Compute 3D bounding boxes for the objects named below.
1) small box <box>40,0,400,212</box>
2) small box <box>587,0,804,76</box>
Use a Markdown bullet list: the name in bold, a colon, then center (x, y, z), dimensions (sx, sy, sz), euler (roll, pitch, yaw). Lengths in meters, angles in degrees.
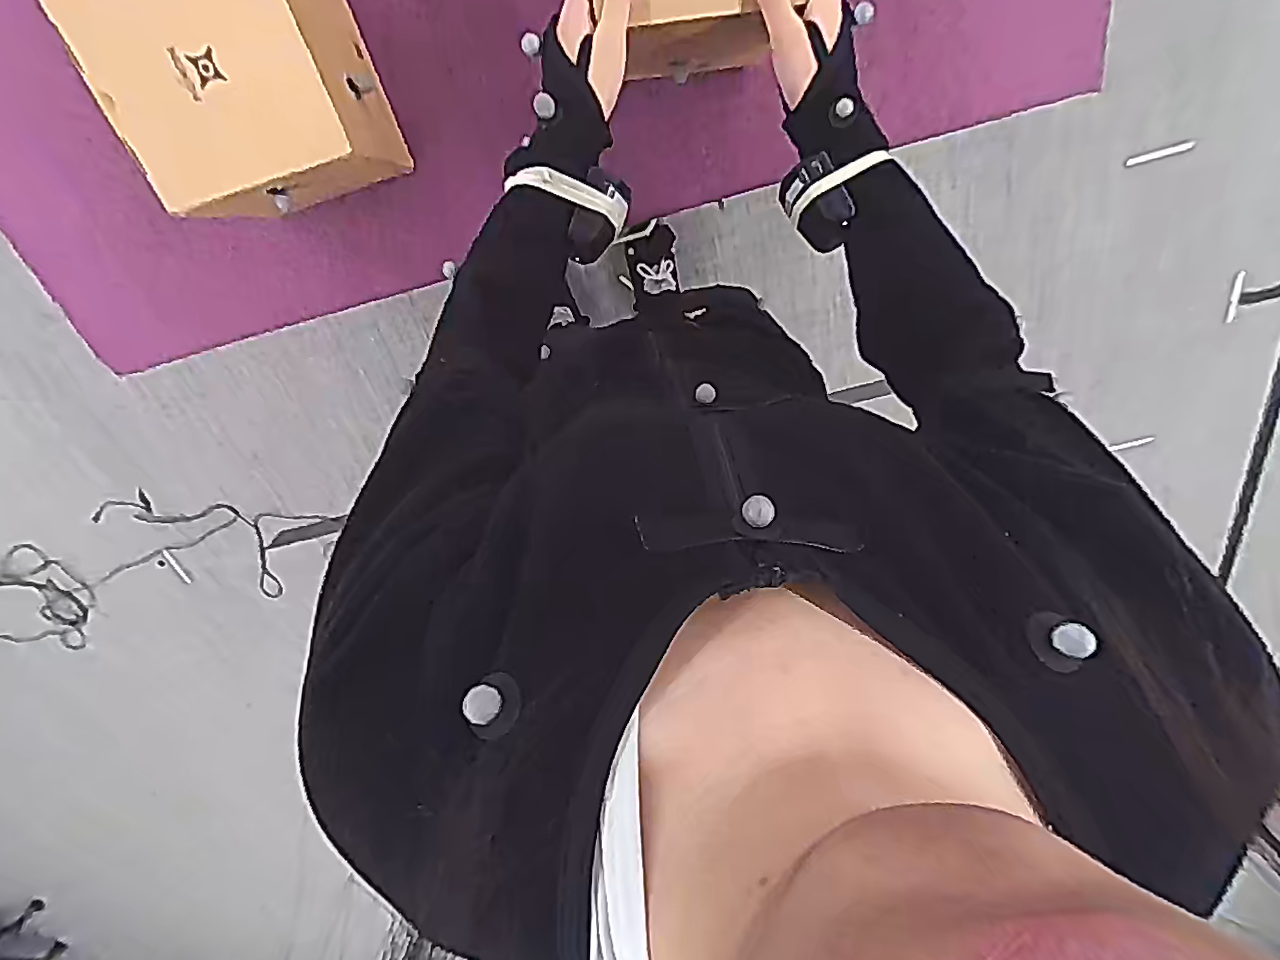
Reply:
- **small box**: center (-0.346, -0.358, 0.492), dimensions (0.179, 0.176, 0.168), euler (-15, 117, 5)
- **small box**: center (0.032, -0.463, 0.443), dimensions (0.168, 0.176, 0.179), euler (-6, 117, 1)
